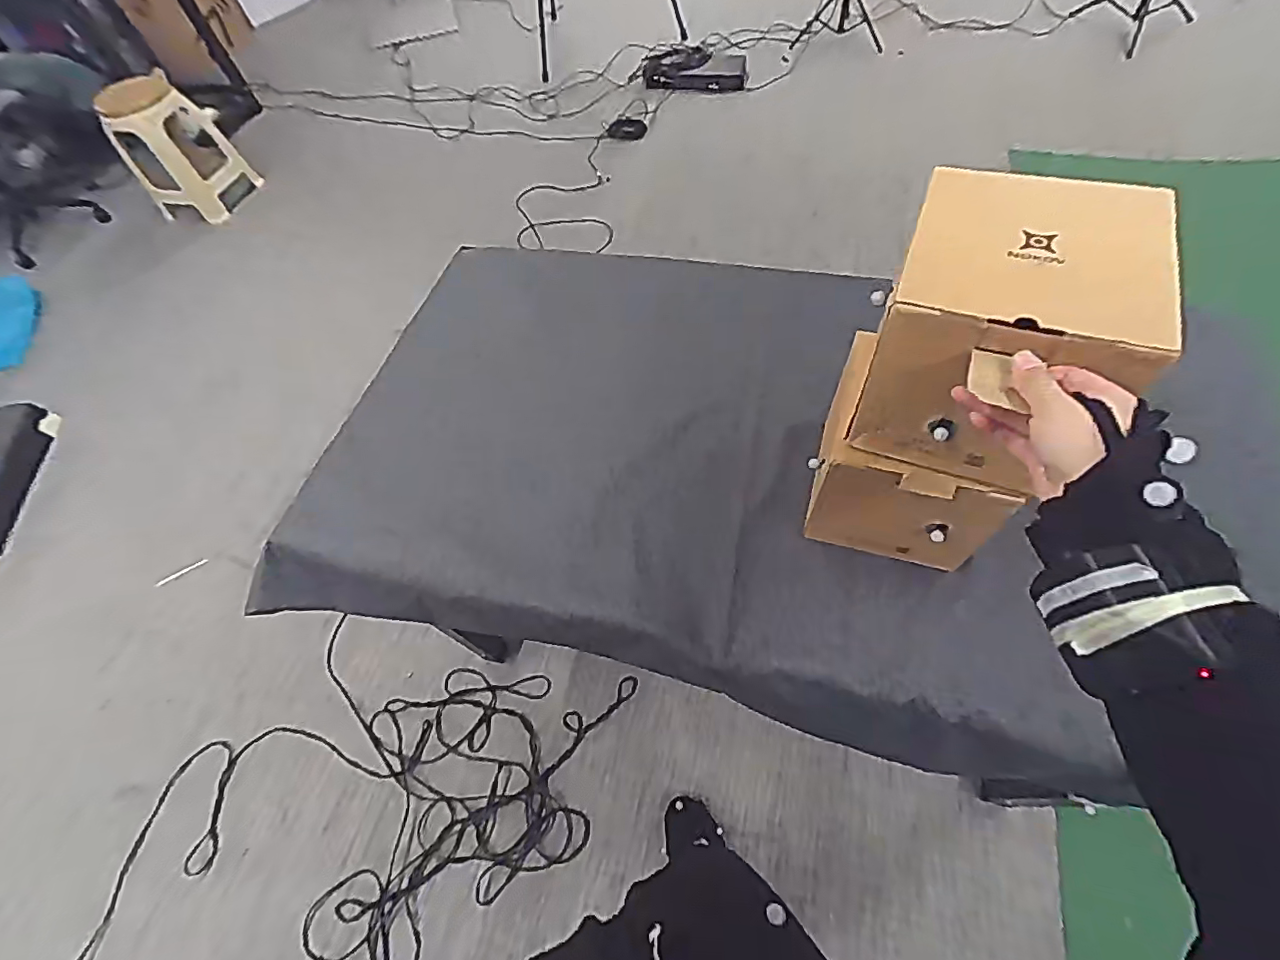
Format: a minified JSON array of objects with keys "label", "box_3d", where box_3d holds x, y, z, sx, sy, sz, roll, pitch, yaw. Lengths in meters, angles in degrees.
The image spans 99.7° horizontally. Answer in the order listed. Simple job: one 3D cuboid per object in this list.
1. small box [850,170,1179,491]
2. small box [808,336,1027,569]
[{"label":"small box","box_3d":[0.288,-0.120,0.450,0.168,0.176,0.179,16,62,18]},{"label":"small box","box_3d":[0.287,-0.024,0.587,0.168,0.176,0.179,13,60,13]}]
